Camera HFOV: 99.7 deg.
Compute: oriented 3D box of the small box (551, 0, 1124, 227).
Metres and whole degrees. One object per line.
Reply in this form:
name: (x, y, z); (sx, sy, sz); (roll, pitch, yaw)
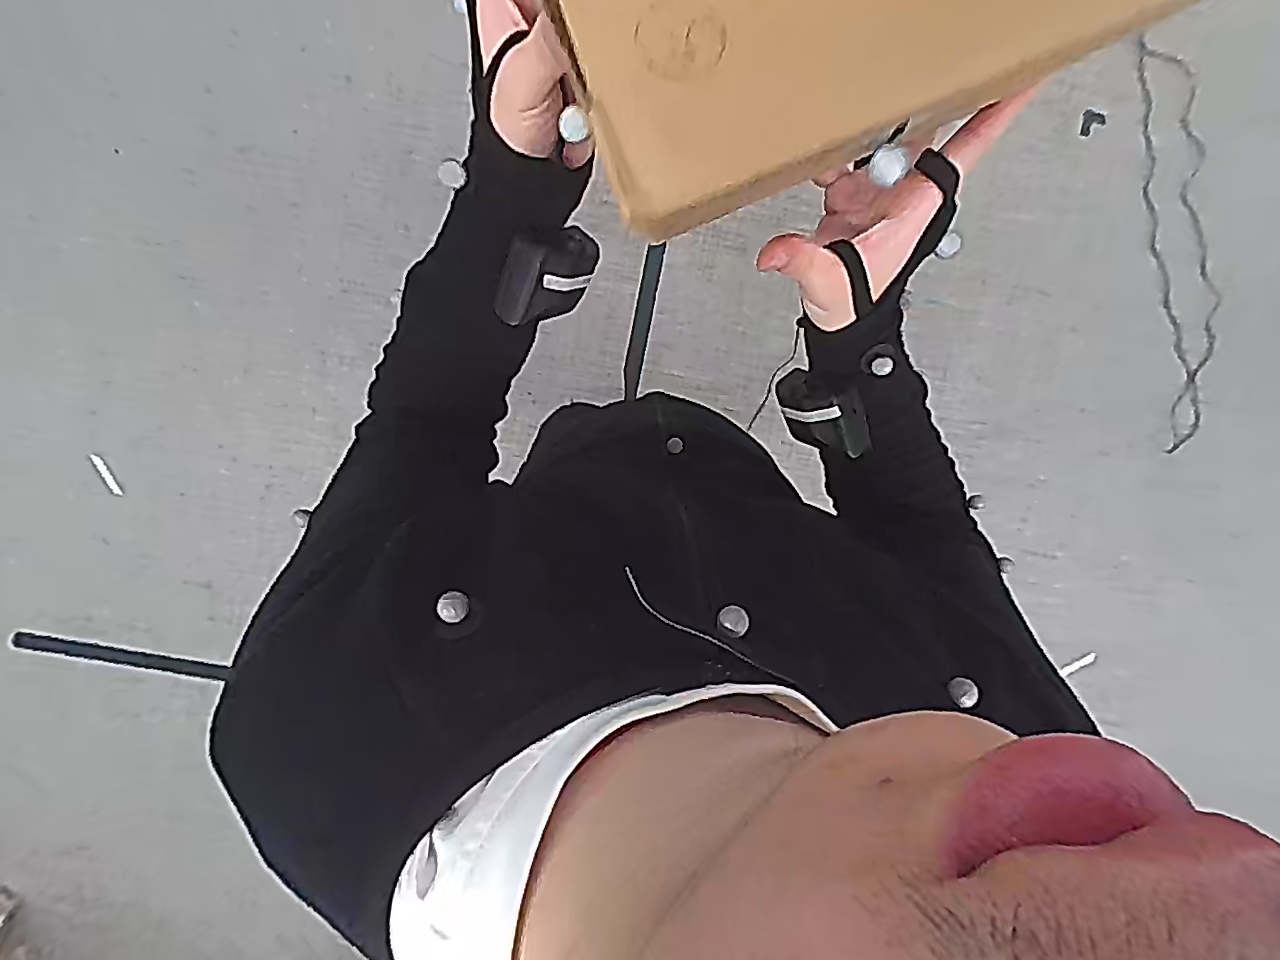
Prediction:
small box: (0.053, -0.207, 0.190); (0.179, 0.176, 0.168); (-20, 109, 10)
